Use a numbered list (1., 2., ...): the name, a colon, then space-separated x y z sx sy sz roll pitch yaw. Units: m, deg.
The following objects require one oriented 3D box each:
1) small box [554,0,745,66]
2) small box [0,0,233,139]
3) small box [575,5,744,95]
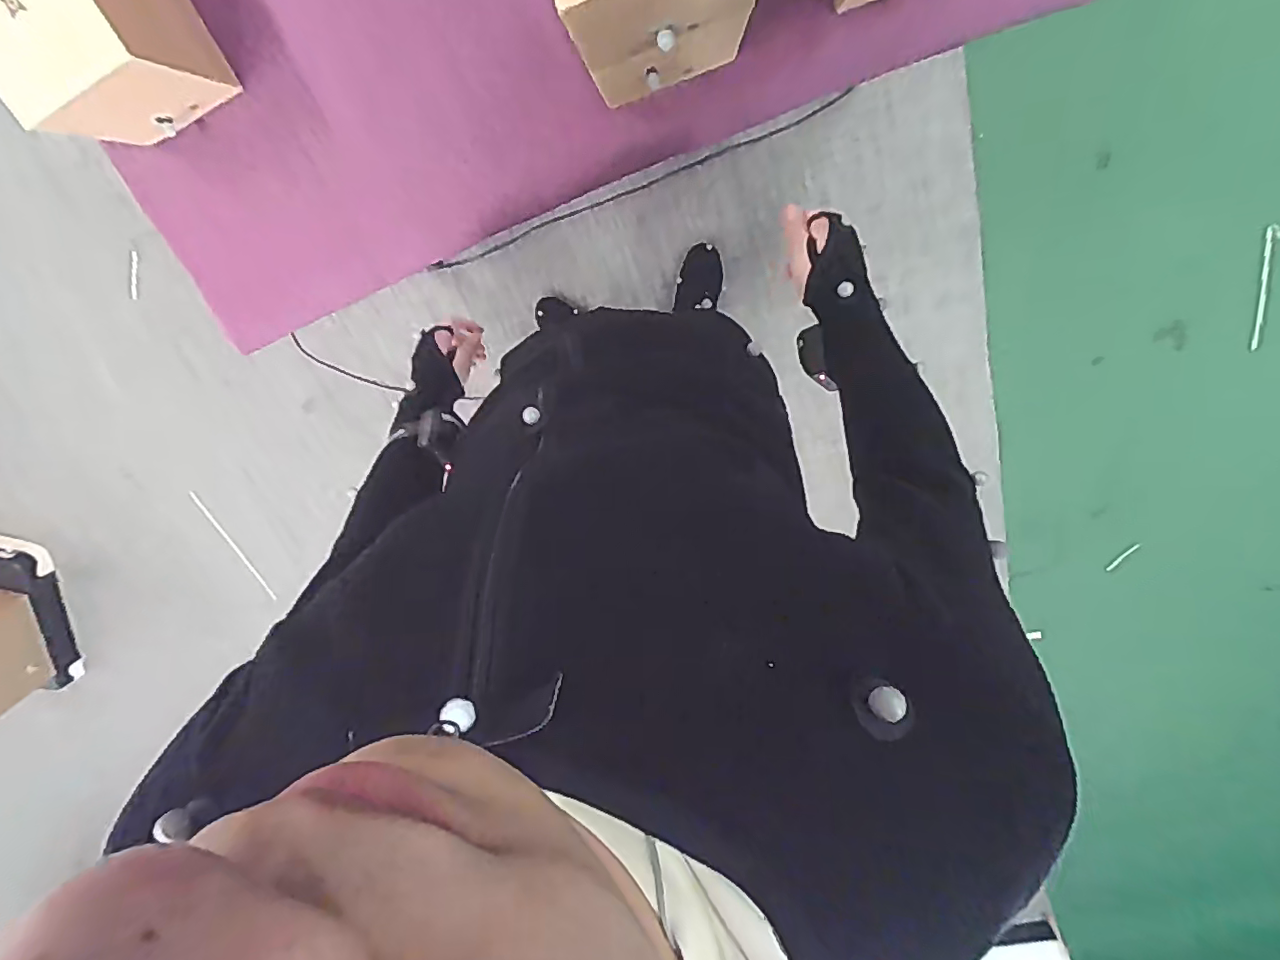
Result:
1. small box: -0.005 -0.467 0.415 0.168 0.176 0.179 -14 113 11
2. small box: -0.629 -0.520 0.610 0.168 0.176 0.179 -19 114 13
3. small box: 0.005 -0.534 0.565 0.168 0.176 0.179 -15 112 11
